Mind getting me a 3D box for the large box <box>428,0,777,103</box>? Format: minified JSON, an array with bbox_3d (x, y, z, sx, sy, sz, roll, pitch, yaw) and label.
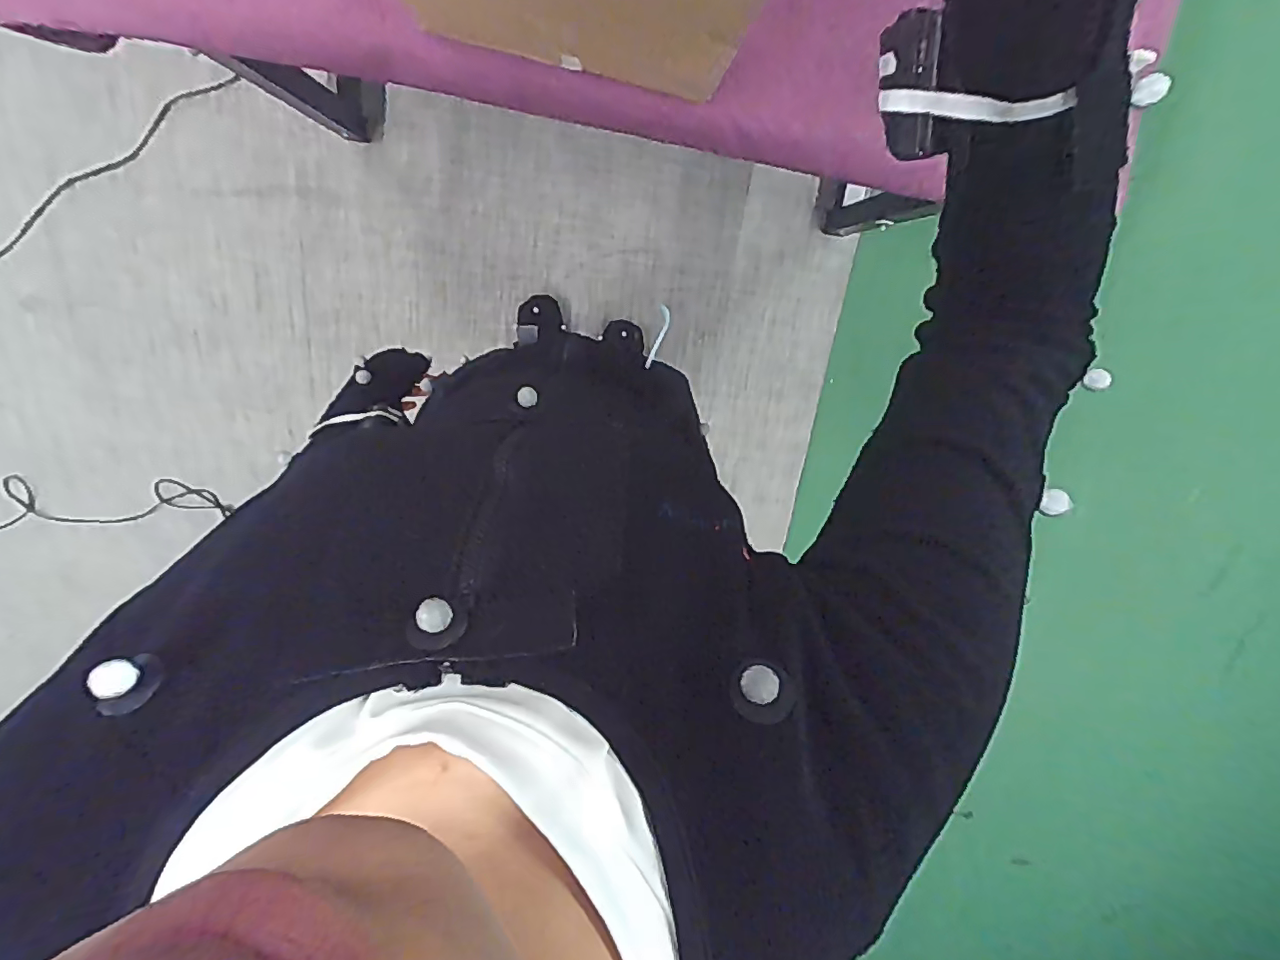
[{"bbox_3d":[-0.014,-0.594,0.405,0.320,0.320,0.408,10,108,-8],"label":"large box"}]
